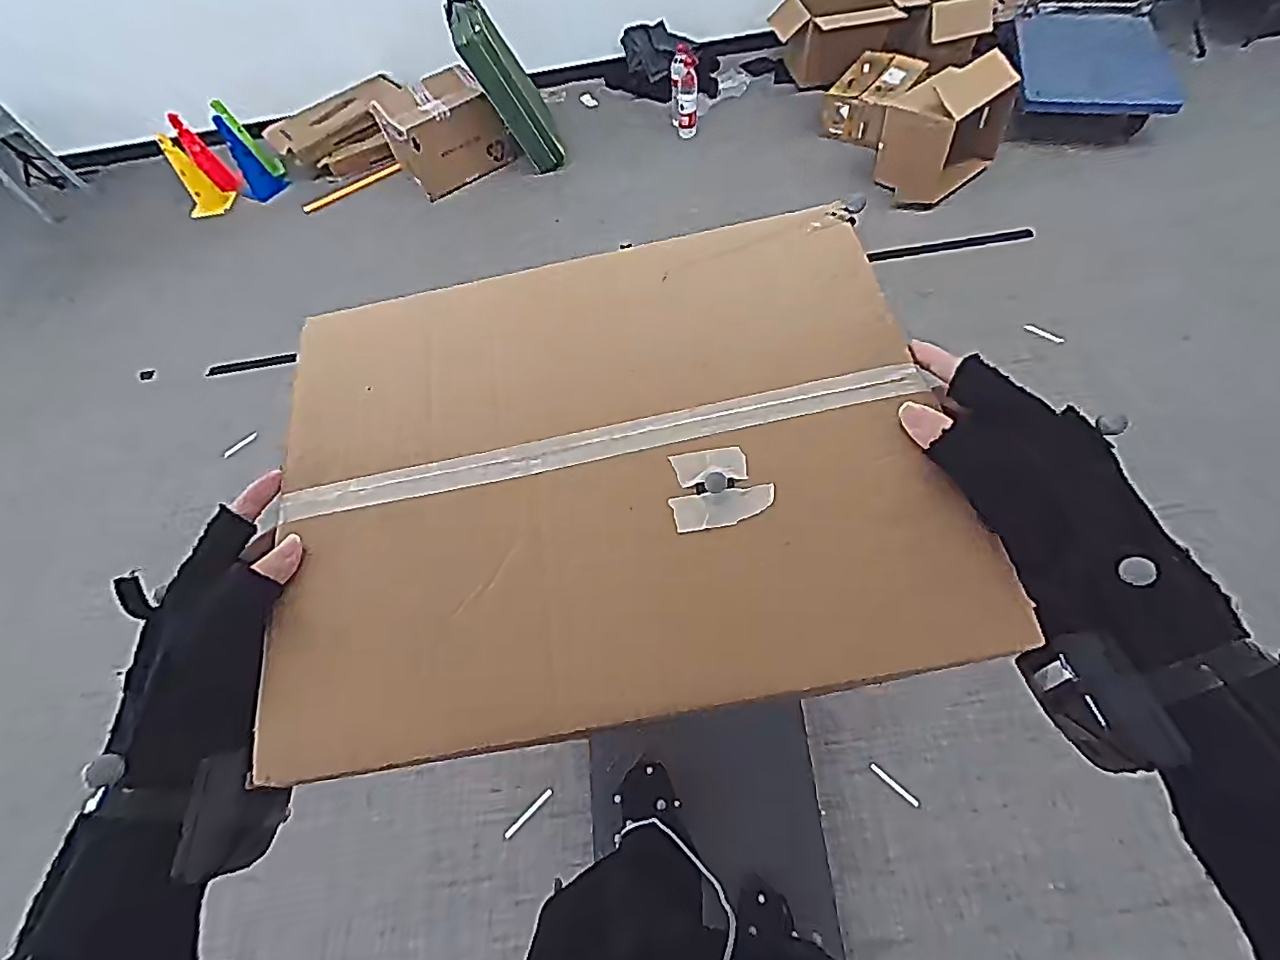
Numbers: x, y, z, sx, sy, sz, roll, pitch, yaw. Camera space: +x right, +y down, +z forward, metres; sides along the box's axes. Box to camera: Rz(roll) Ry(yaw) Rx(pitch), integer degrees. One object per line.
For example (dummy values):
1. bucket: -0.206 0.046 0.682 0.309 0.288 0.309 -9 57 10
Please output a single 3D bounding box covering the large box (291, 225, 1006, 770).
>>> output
1. large box: -0.009 0.042 0.486 0.408 0.320 0.320 -11 66 2
